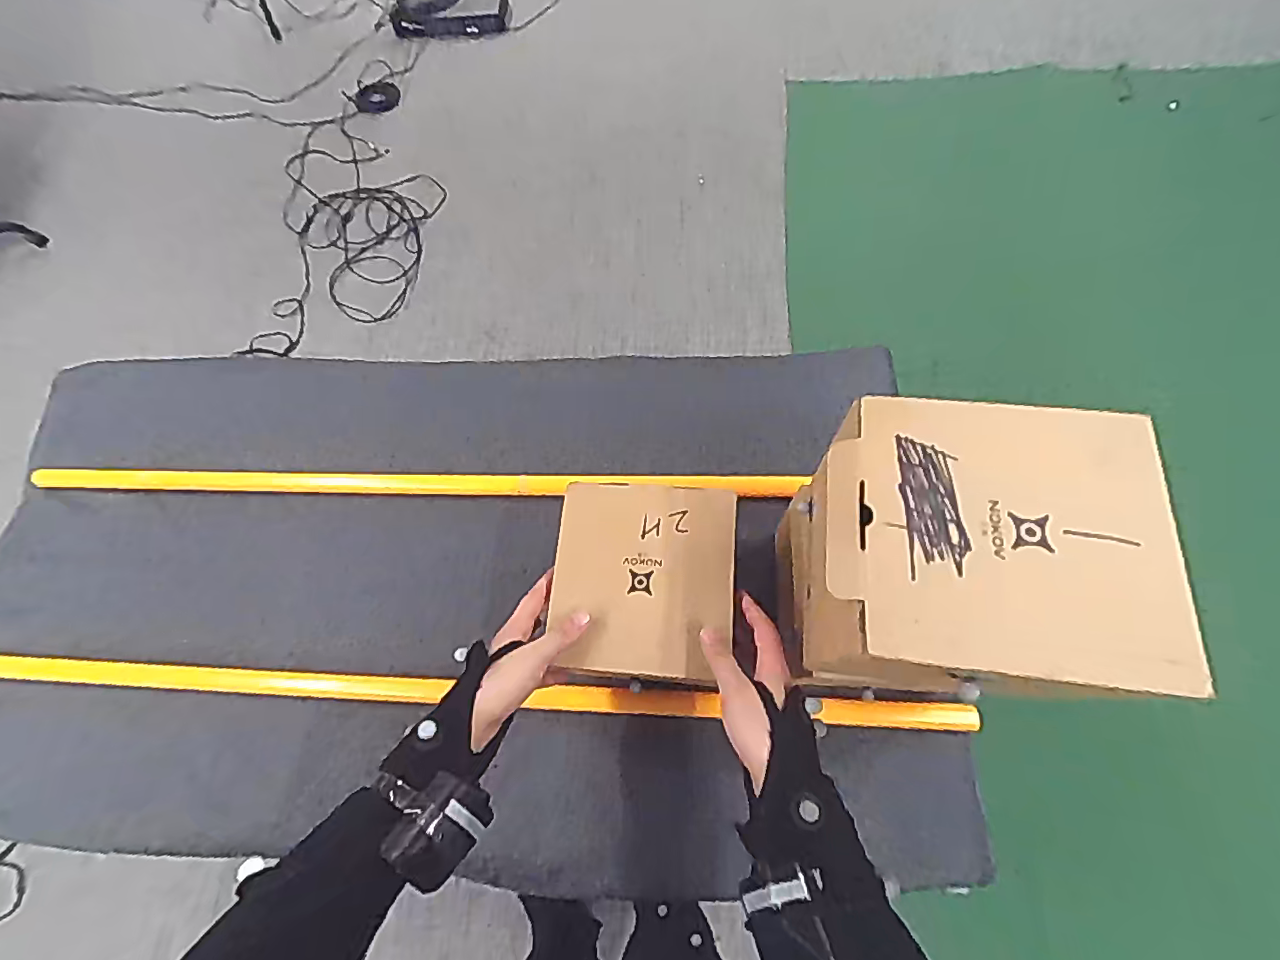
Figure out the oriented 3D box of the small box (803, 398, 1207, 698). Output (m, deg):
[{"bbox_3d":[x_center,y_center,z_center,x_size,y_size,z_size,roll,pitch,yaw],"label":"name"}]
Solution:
[{"bbox_3d":[0.219,0.059,0.387,0.179,0.176,0.168,6,69,7],"label":"small box"}]
